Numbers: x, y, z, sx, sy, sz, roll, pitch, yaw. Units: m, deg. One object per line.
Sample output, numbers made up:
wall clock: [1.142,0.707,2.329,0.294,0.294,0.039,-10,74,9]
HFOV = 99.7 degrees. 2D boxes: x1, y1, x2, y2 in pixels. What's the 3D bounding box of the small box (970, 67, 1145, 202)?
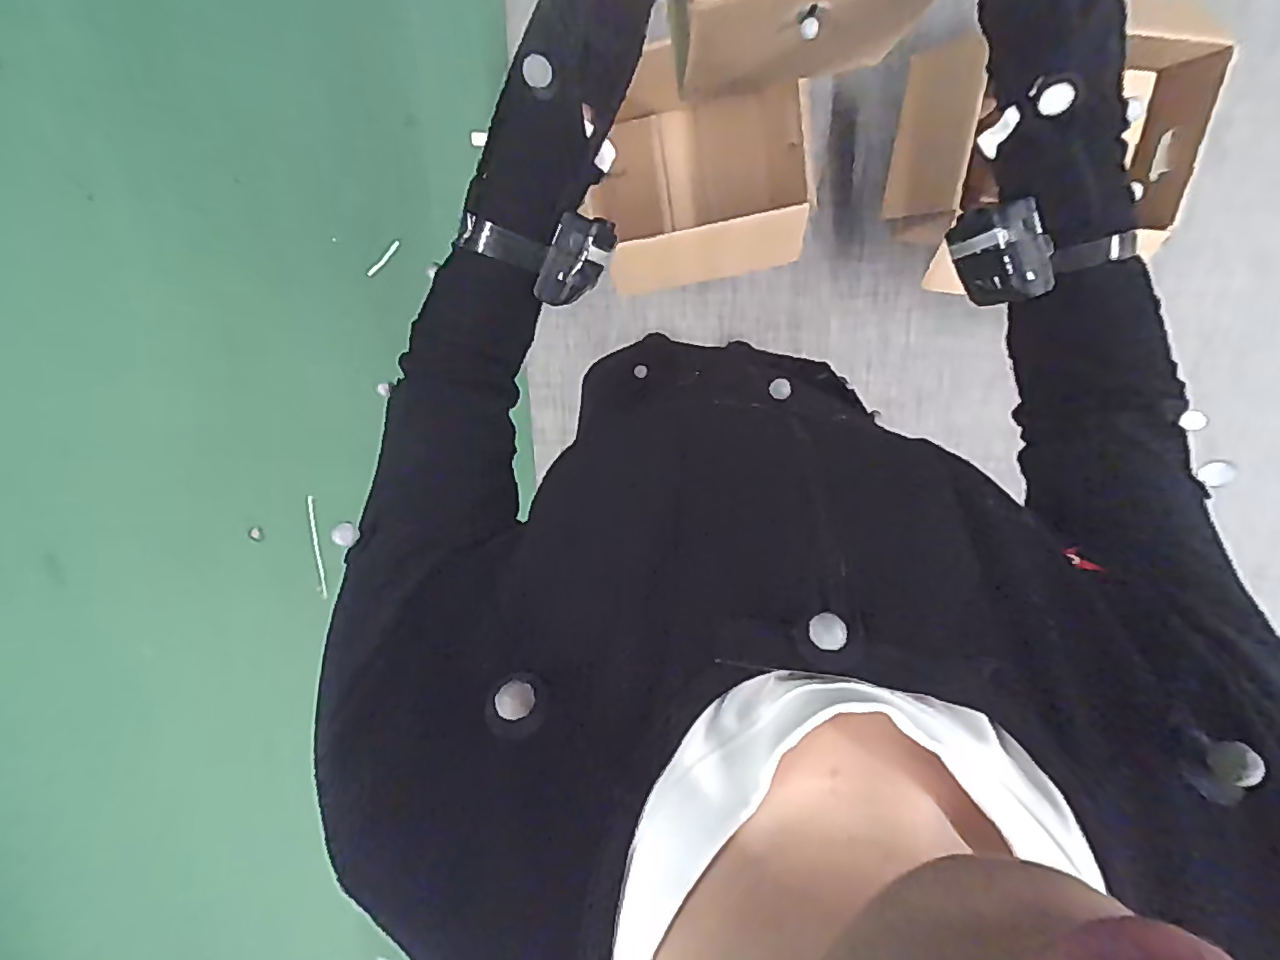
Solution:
small box: [0.762,-0.630,1.008,0.179,0.176,0.168,5,104,2]
